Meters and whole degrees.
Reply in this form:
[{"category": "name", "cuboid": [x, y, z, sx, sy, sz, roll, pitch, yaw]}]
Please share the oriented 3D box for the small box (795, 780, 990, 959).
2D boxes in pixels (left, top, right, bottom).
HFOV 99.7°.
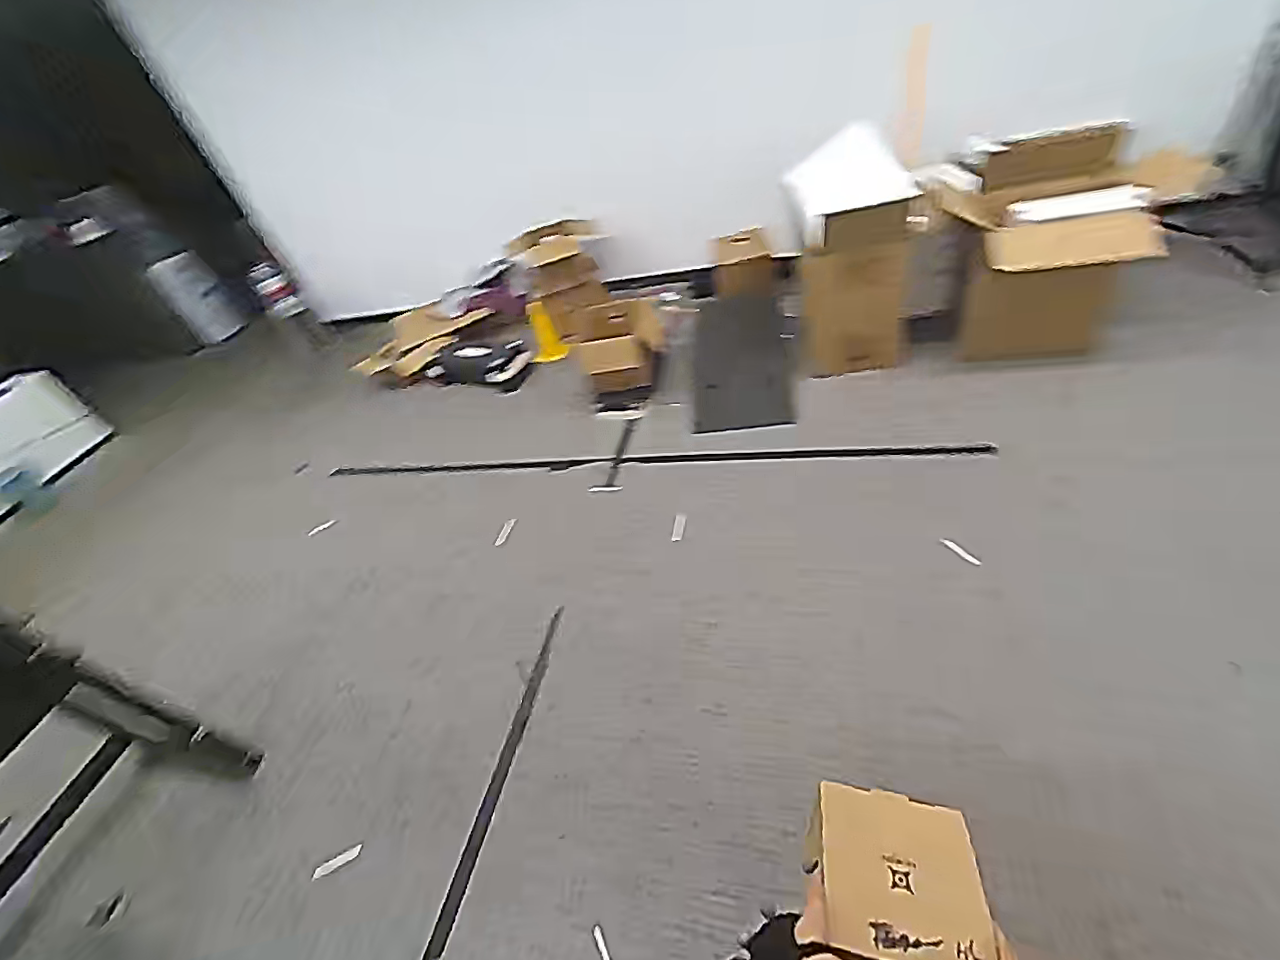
[{"category": "small box", "cuboid": [0.273, 0.496, 0.627, 0.168, 0.176, 0.179, 5, 29, 13]}]
